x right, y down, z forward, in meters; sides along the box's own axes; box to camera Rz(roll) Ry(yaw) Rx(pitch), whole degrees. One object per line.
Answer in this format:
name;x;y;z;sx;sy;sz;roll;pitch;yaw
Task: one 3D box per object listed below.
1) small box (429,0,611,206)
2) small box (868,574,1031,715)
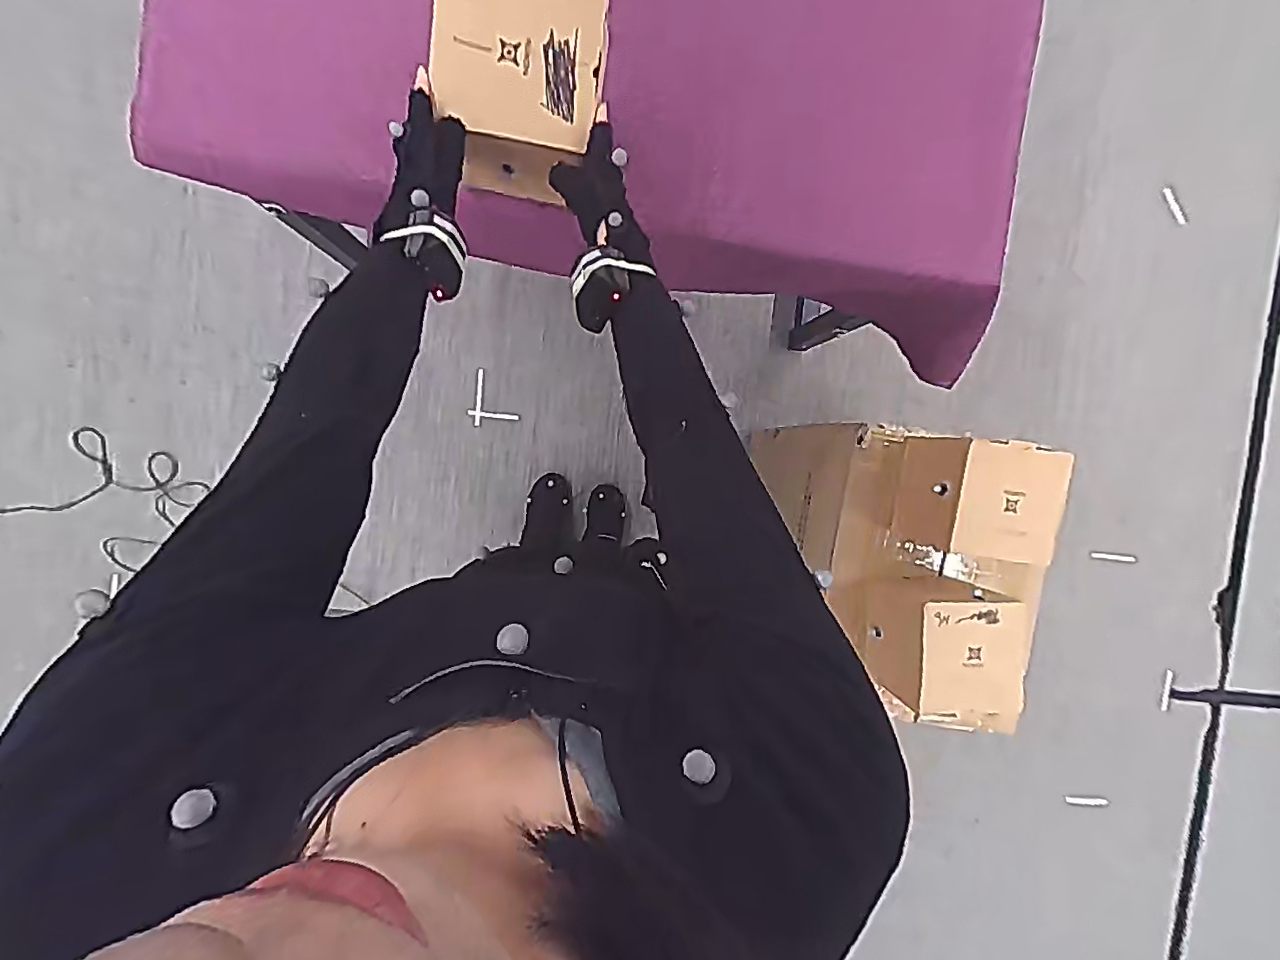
small box;-0.139;-0.452;0.649;0.179;0.176;0.168;7;96;-10
small box;0.492;0.260;0.884;0.168;0.176;0.179;1;93;-5
